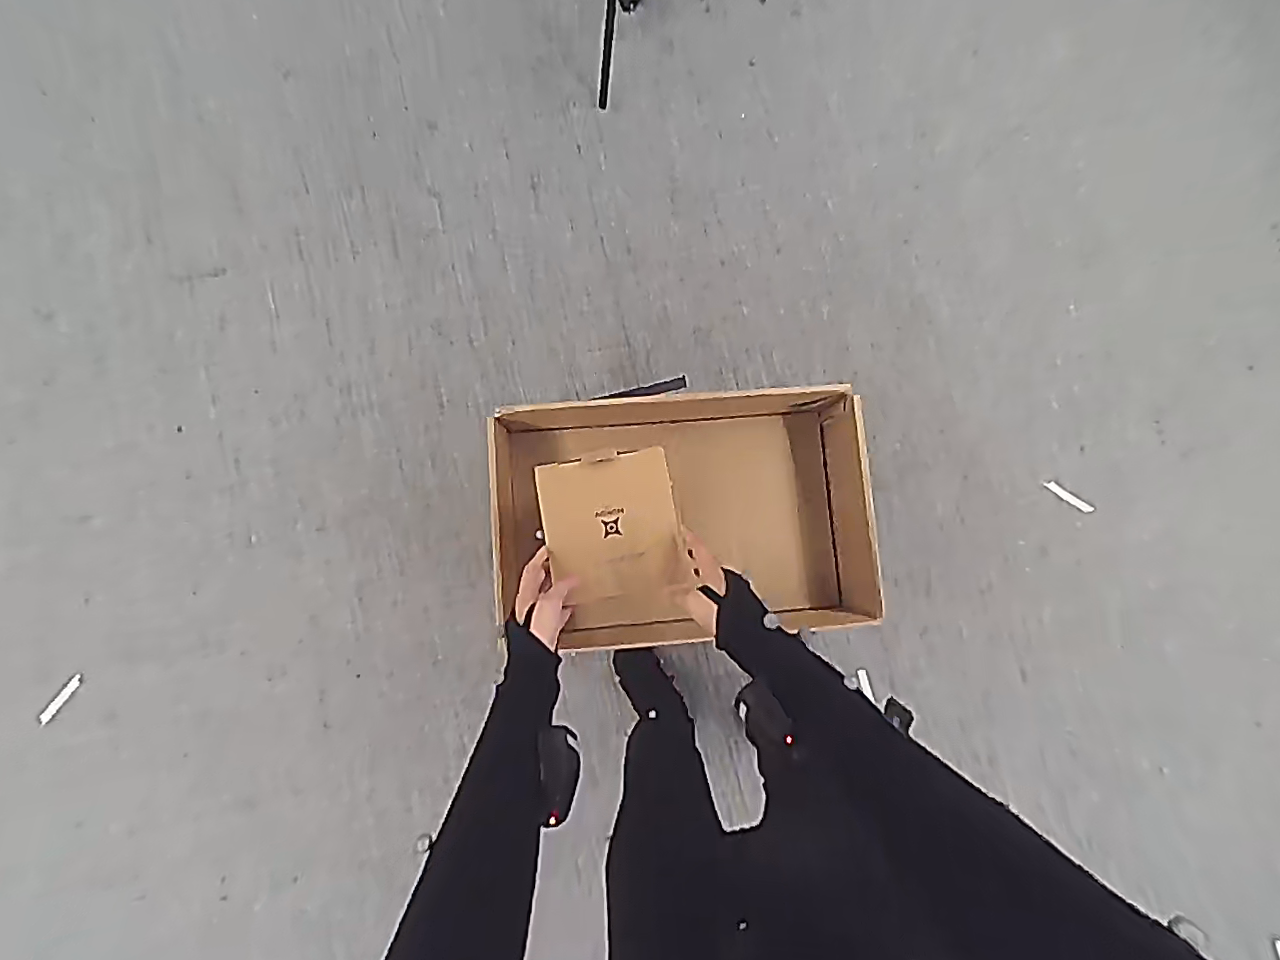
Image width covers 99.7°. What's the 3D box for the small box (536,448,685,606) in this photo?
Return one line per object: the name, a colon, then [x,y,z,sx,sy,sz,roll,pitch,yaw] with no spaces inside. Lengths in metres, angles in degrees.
small box: [-0.043,0.065,0.744,0.168,0.176,0.179,-10,85,-4]
